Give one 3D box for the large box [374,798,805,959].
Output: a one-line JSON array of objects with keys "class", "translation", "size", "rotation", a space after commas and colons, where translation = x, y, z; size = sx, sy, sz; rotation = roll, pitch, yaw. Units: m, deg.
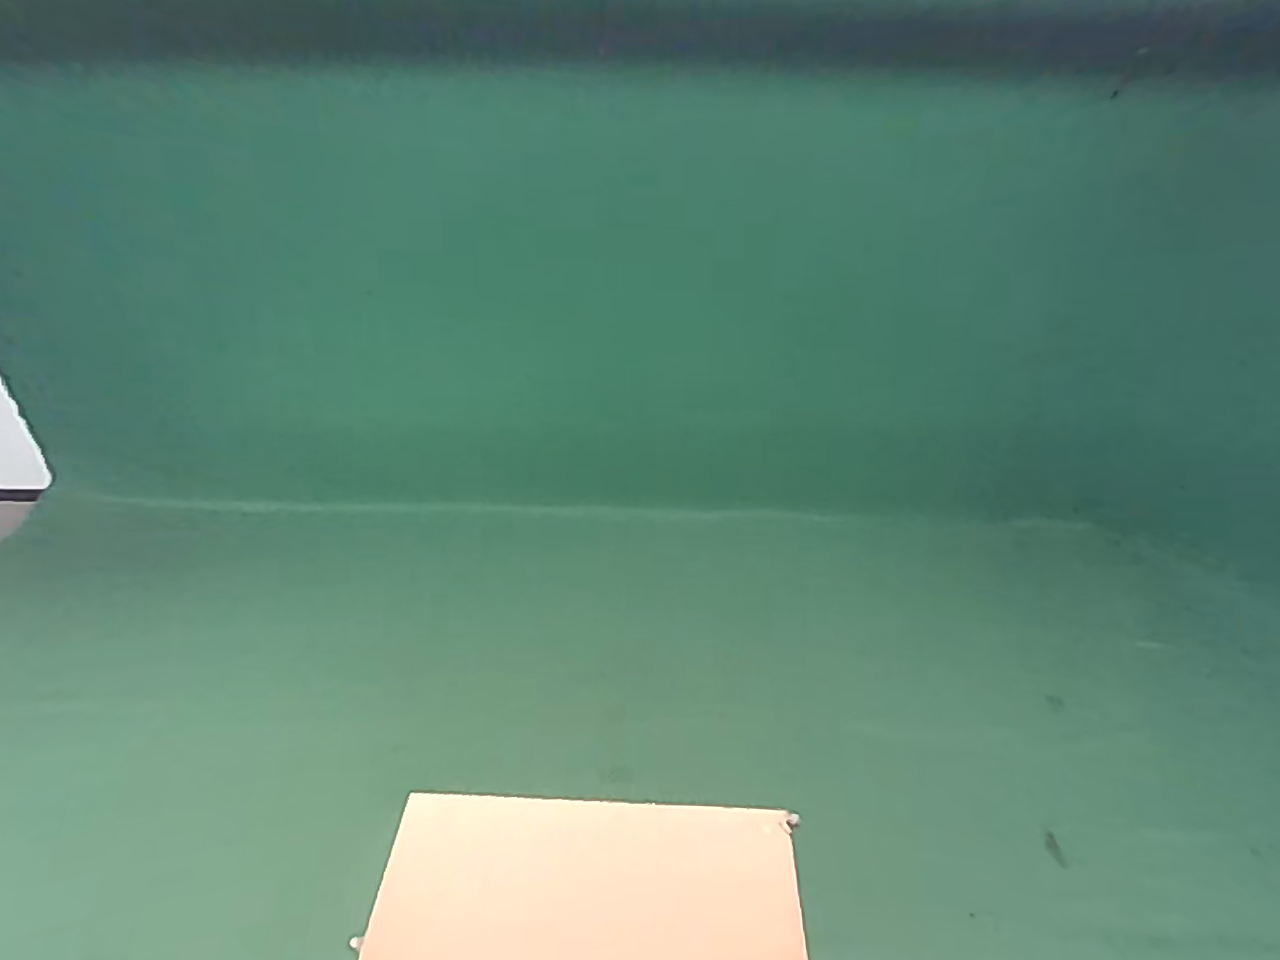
[{"class": "large box", "translation": [-0.053, 0.564, 0.581], "size": [0.408, 0.320, 0.320], "rotation": [3, 46, -1]}]
